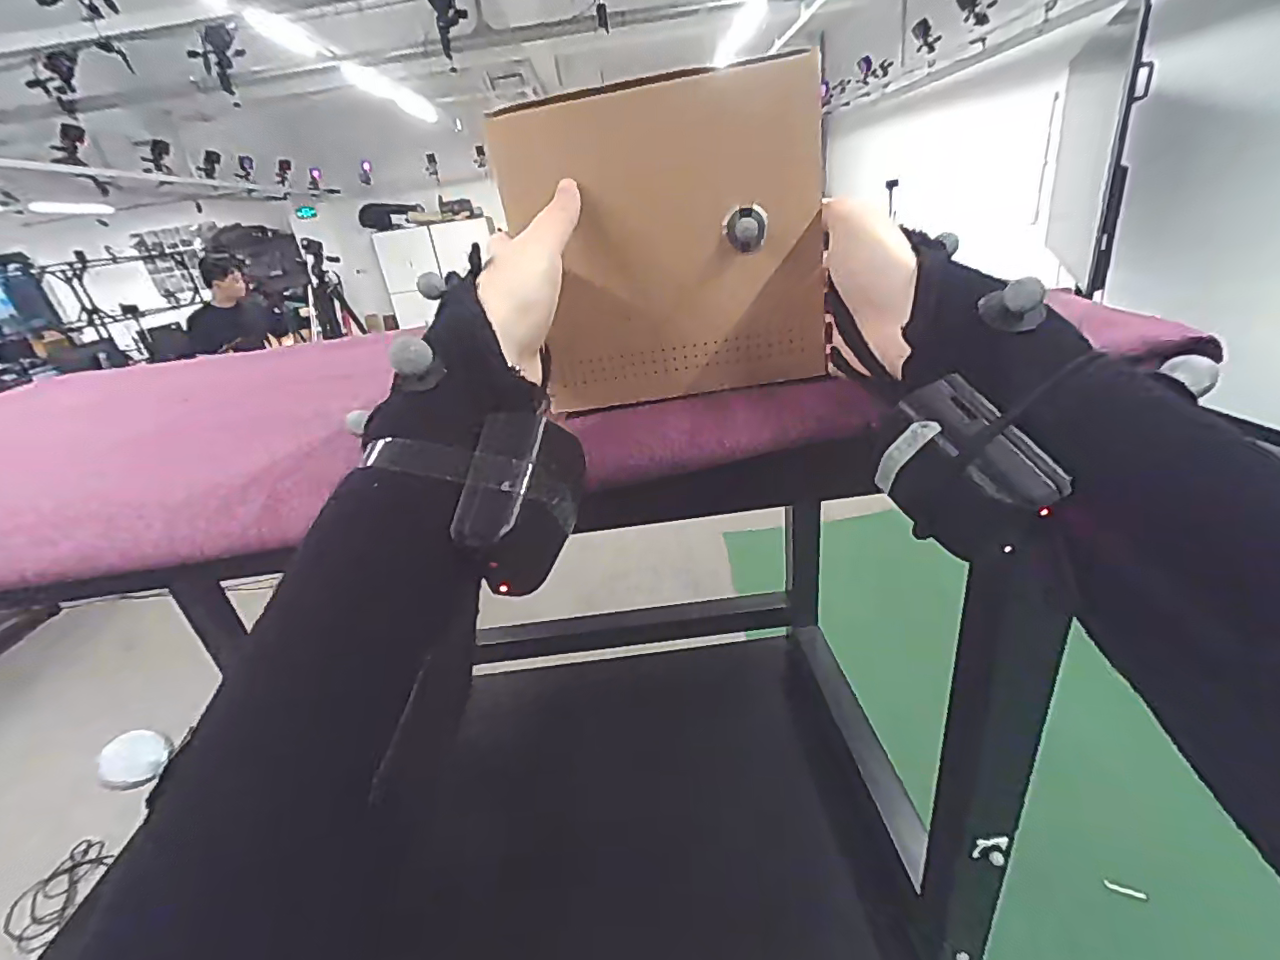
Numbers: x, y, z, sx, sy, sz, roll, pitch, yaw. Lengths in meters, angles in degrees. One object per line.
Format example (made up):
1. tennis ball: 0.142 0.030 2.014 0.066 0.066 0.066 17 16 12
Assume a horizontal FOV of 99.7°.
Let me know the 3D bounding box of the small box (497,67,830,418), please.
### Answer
1. small box: 0.024 -0.155 0.382 0.179 0.176 0.168 -8 24 5
